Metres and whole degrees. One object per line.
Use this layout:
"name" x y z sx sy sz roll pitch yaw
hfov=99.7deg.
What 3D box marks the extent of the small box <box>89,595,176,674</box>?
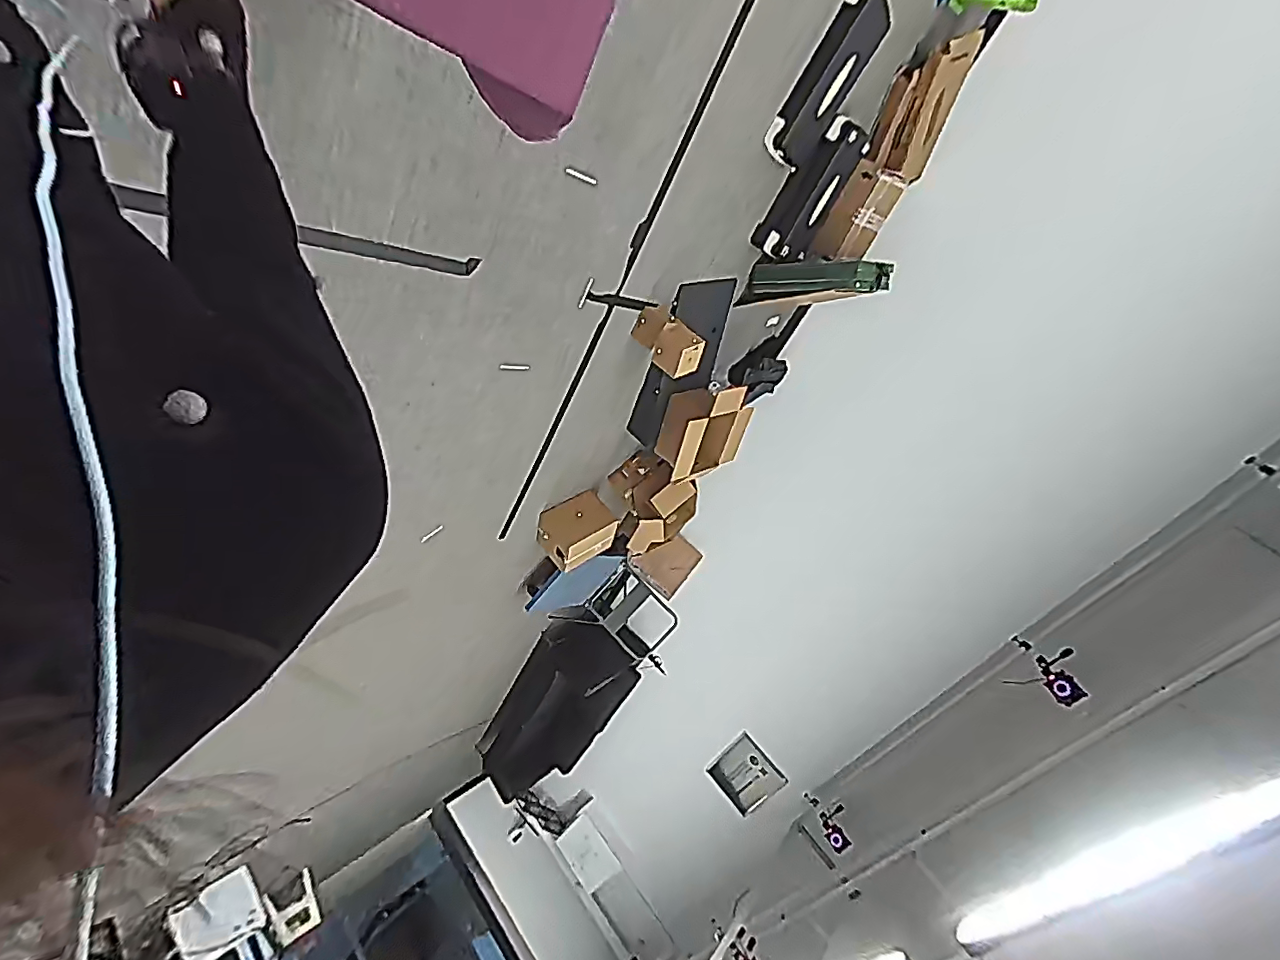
"small box" -1.746 0.524 1.855 0.179 0.176 0.168 -7 136 -58
